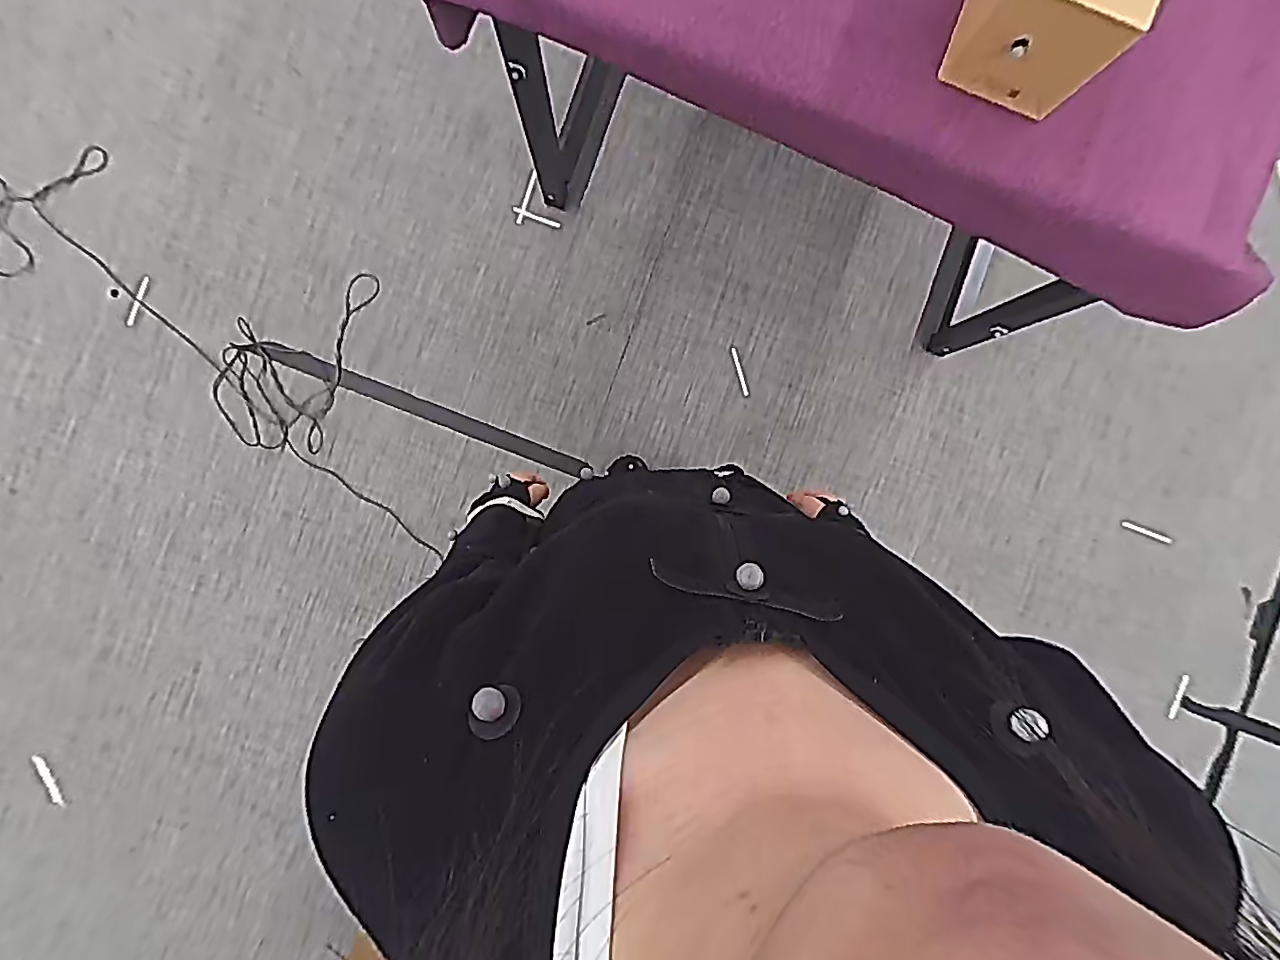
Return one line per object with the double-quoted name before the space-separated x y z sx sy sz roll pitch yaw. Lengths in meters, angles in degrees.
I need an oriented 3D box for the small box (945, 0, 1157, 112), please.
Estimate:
"small box" 0.535 -0.630 0.700 0.168 0.176 0.179 20 90 -2
